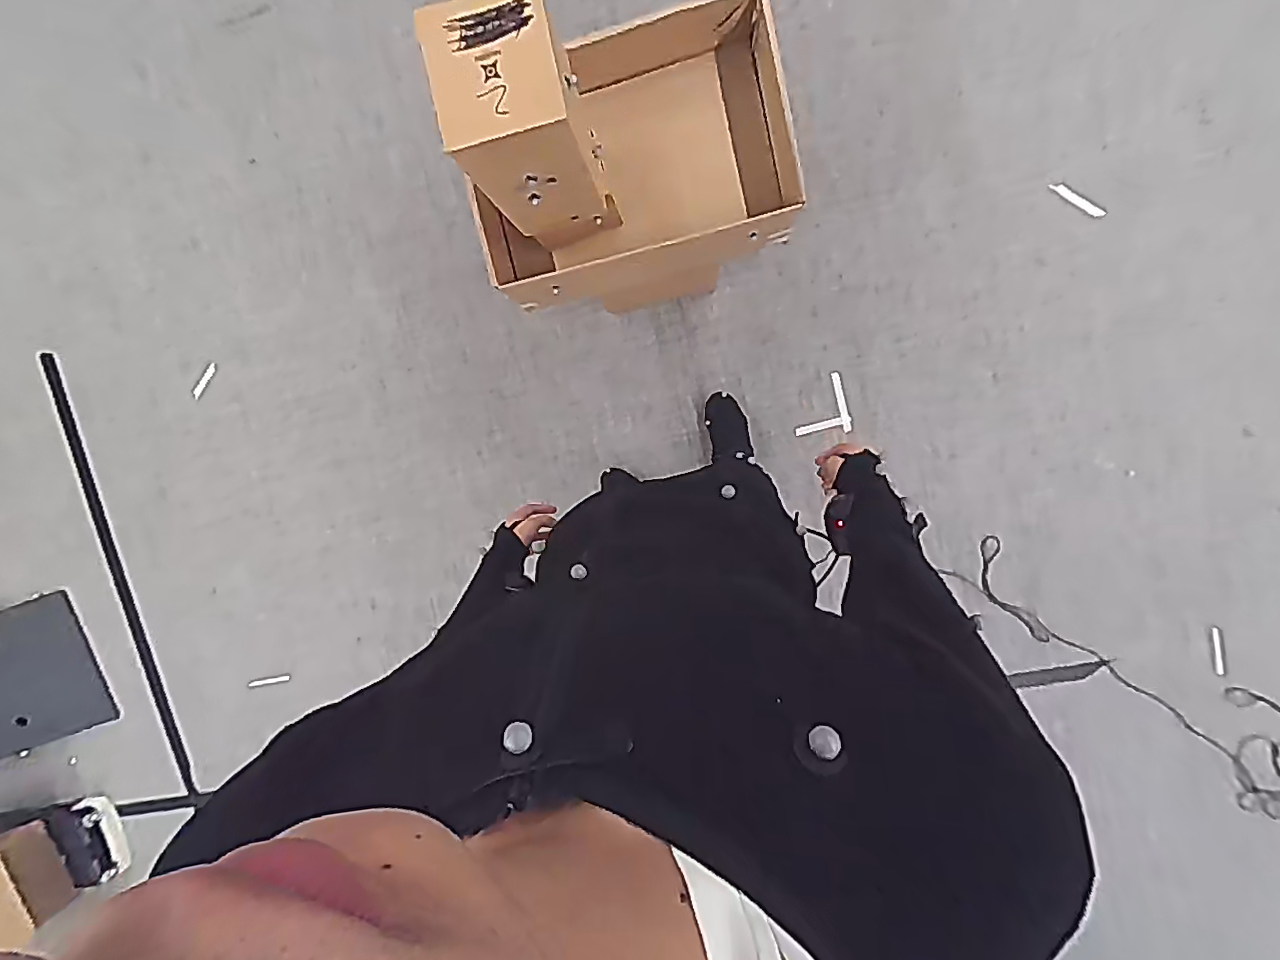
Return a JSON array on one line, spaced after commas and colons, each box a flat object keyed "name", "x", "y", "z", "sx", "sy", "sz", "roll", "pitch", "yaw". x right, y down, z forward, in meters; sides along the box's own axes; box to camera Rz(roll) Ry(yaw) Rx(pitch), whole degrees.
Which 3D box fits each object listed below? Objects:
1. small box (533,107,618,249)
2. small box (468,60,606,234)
[{"name": "small box", "x": -0.151, "y": -0.588, "z": 1.076, "sx": 0.179, "sy": 0.176, "sz": 0.168, "roll": -17, "pitch": 94, "yaw": 8}, {"name": "small box", "x": -0.165, "y": -0.550, "z": 0.917, "sx": 0.168, "sy": 0.176, "sz": 0.179, "roll": -12, "pitch": 94, "yaw": 8}]
